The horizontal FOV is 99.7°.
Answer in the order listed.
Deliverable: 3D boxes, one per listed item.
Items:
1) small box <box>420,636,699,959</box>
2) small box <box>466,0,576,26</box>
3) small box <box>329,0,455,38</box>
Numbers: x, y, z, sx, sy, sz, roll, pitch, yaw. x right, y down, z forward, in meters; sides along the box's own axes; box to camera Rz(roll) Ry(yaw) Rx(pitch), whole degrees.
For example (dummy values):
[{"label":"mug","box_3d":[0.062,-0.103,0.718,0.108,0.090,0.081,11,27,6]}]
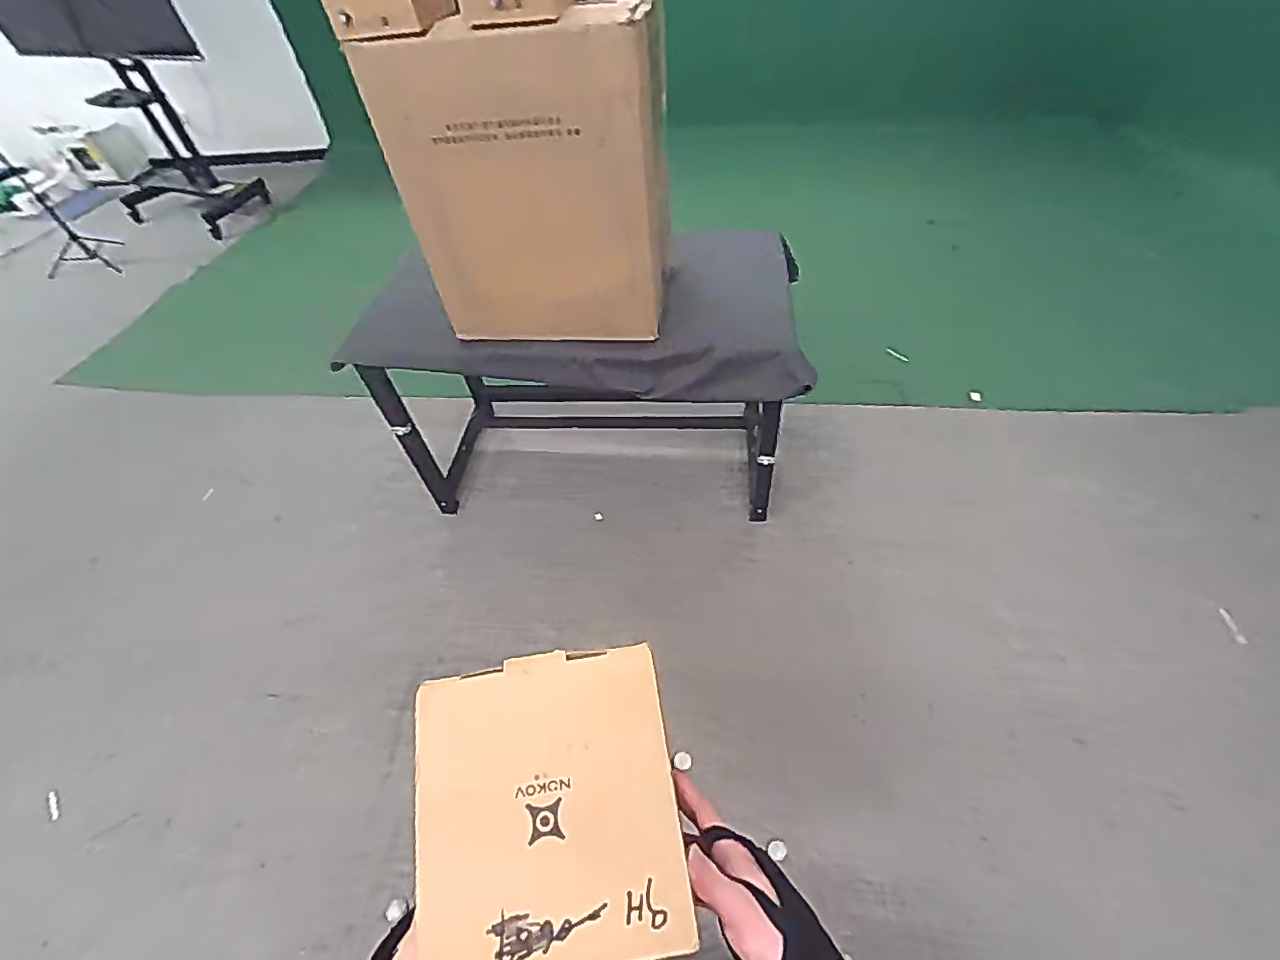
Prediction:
[{"label":"small box","box_3d":[-0.055,0.235,0.421,0.168,0.176,0.179,-11,66,-1]},{"label":"small box","box_3d":[-0.211,-0.890,0.908,0.168,0.176,0.179,2,51,9]},{"label":"small box","box_3d":[-0.449,-0.896,0.944,0.168,0.176,0.179,3,50,11]}]
